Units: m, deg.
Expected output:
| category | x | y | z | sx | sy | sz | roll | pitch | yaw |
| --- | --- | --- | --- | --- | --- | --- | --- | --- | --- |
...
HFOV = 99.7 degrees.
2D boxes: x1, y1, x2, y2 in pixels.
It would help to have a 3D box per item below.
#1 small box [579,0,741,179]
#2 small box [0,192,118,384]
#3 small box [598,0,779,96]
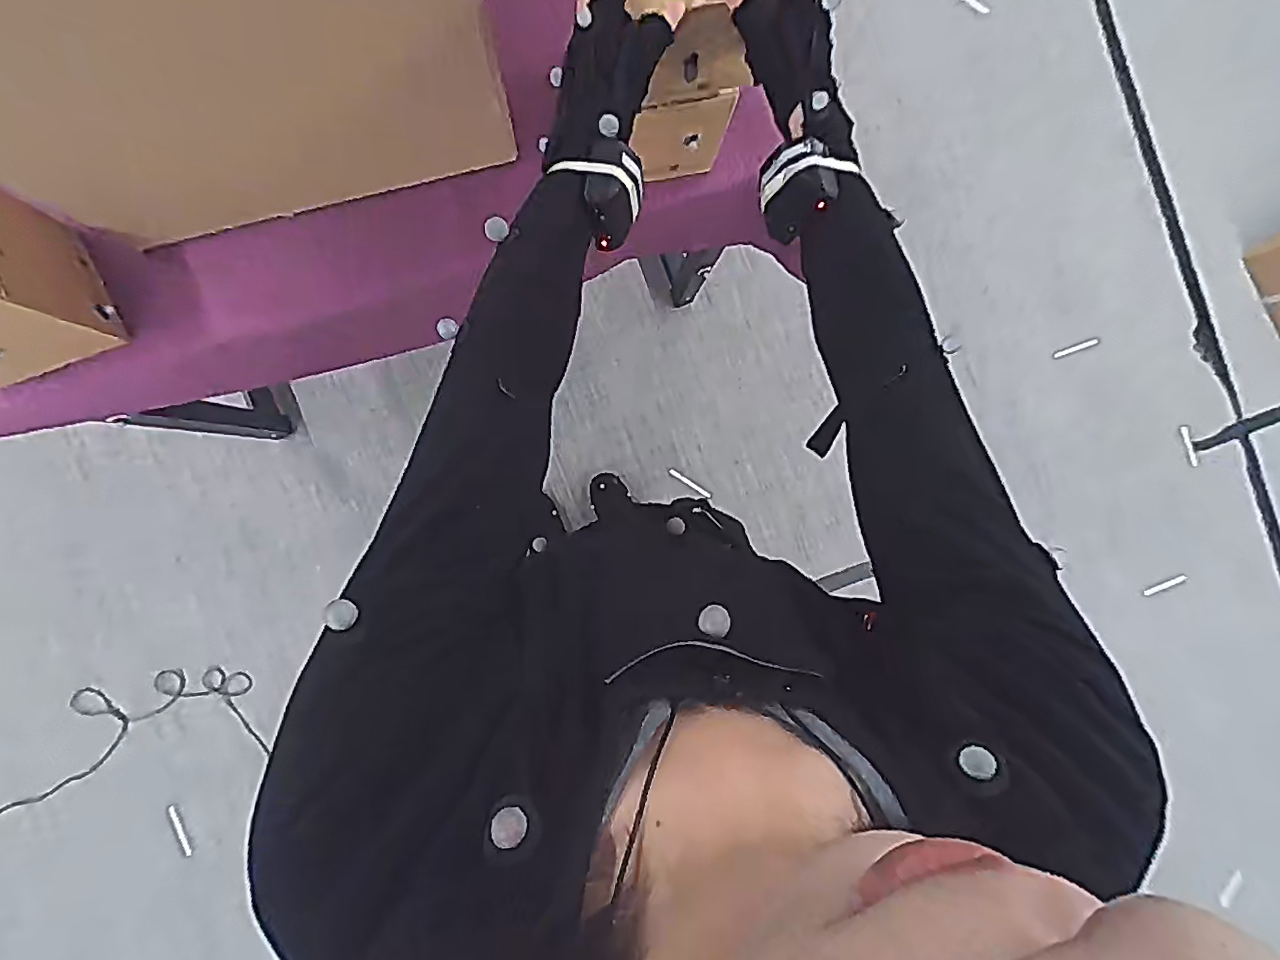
| category | x | y | z | sx | sy | sz | roll | pitch | yaw |
| --- | --- | --- | --- | --- | --- | --- | --- | --- | --- |
| small box | 0.018 | -0.525 | 0.712 | 0.168 | 0.176 | 0.179 | -12 | 90 | -6 |
| small box | -0.774 | -0.229 | 0.627 | 0.179 | 0.176 | 0.168 | -25 | 91 | -6 |
| small box | 0.038 | -0.505 | 0.518 | 0.168 | 0.176 | 0.179 | -11 | 102 | 3 |
